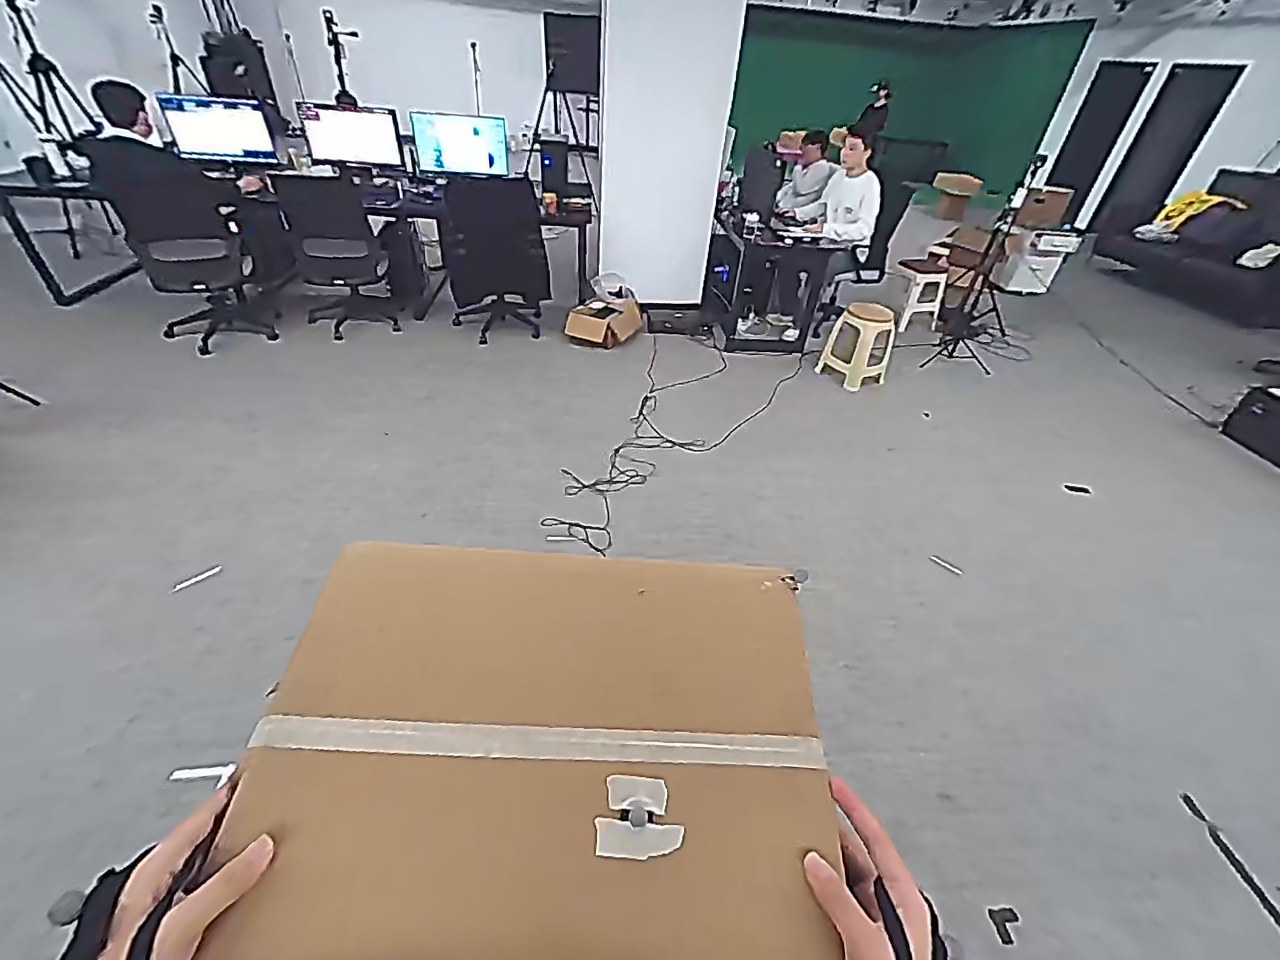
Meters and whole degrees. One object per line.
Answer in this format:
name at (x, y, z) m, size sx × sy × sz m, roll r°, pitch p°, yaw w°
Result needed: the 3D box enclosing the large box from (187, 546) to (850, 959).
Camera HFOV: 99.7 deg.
large box at (-0.077, 0.283, 0.519) m, size 0.408 × 0.320 × 0.320 m, roll 4°, pitch 52°, yaw -2°
